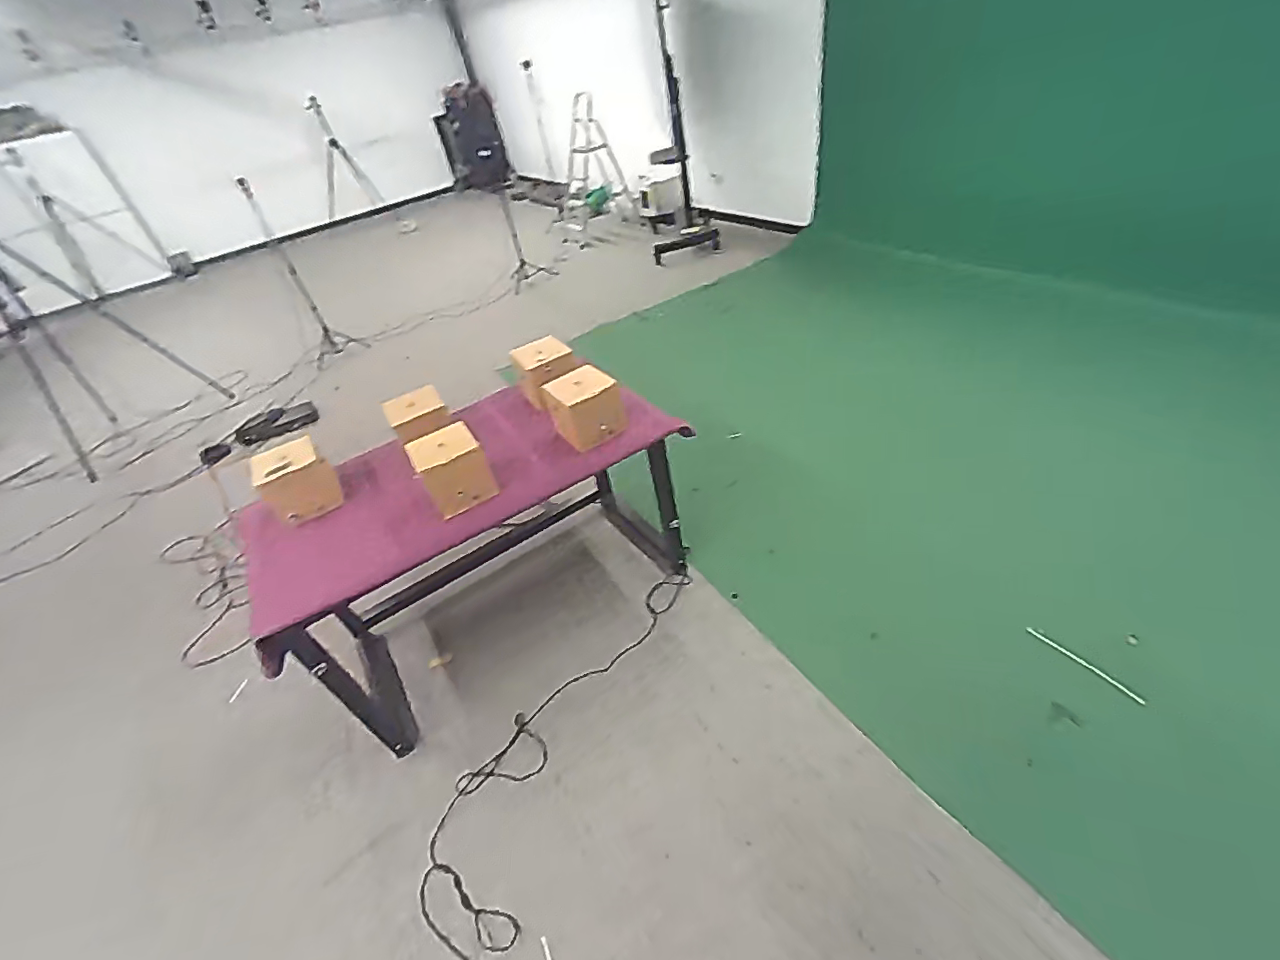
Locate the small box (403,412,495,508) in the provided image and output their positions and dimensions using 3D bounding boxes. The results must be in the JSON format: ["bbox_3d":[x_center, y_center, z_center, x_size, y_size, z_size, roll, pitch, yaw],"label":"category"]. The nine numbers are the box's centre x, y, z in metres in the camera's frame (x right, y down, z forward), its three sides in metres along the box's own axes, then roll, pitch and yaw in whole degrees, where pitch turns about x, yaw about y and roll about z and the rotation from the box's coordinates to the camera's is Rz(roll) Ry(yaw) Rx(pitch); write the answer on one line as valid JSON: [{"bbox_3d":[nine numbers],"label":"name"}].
[{"bbox_3d":[-0.521,-0.054,1.484,0.168,0.176,0.179,-27,43,-18],"label":"small box"}]

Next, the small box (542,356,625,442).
[{"bbox_3d":[-0.166,-0.240,1.610,0.168,0.176,0.179,-30,44,-19],"label":"small box"}]

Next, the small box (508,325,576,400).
[{"bbox_3d":[-0.321,-0.394,1.825,0.168,0.176,0.179,-28,44,-18],"label":"small box"}]

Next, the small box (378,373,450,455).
[{"bbox_3d":[-0.691,-0.203,1.693,0.168,0.176,0.179,-27,44,-17],"label":"small box"}]

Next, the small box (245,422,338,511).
[{"bbox_3d":[-0.999,-0.032,1.559,0.168,0.176,0.179,-27,44,-19],"label":"small box"}]
